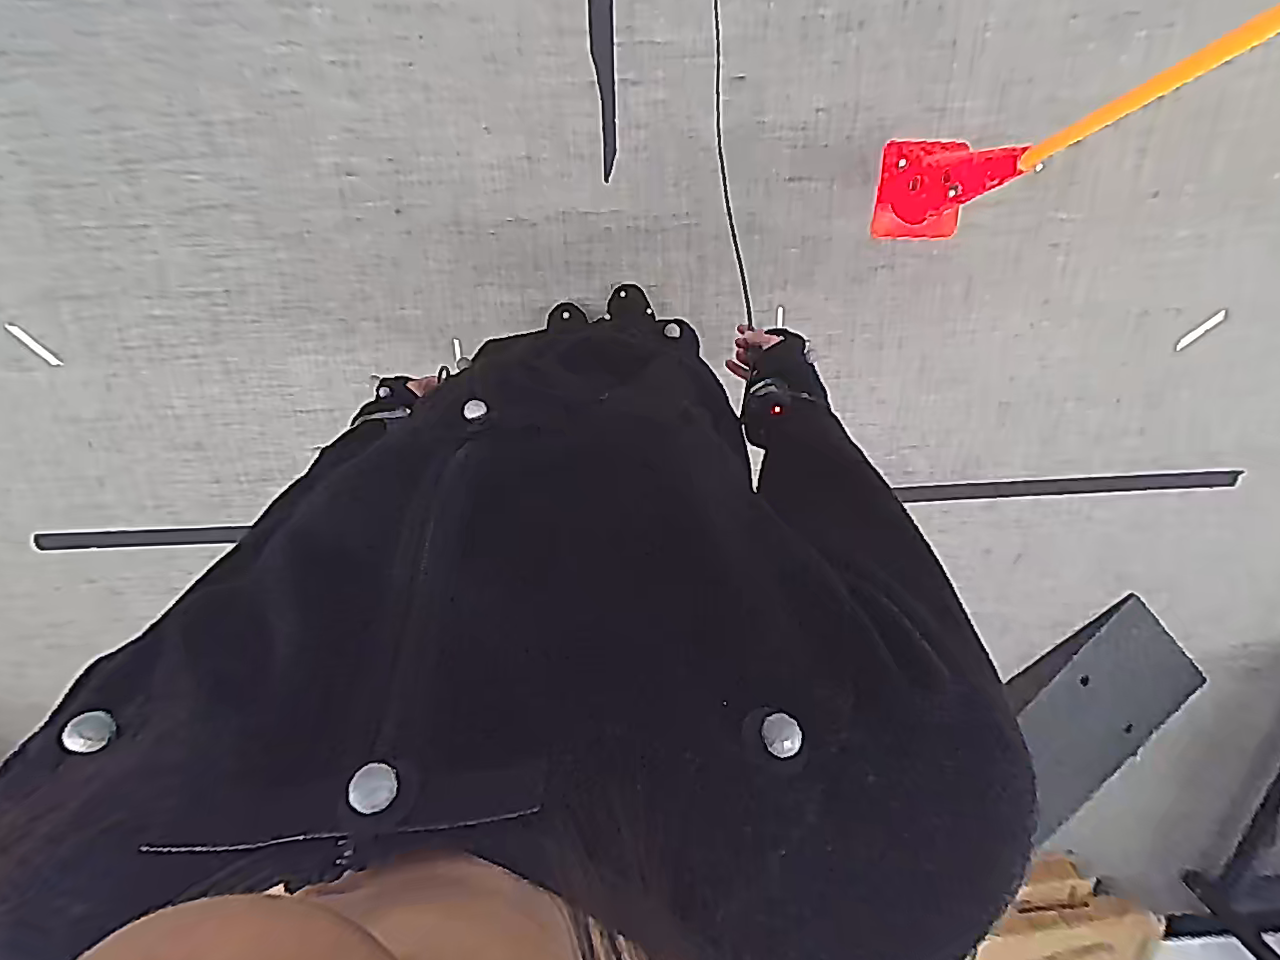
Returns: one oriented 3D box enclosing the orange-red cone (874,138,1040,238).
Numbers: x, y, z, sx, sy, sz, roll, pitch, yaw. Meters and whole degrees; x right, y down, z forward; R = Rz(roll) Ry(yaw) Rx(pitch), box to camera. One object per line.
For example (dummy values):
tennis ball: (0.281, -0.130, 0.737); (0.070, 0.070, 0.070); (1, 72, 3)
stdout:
orange-red cone: (0.647, -0.598, 1.067); (0.198, 0.360, 0.199); (1, 111, -2)
